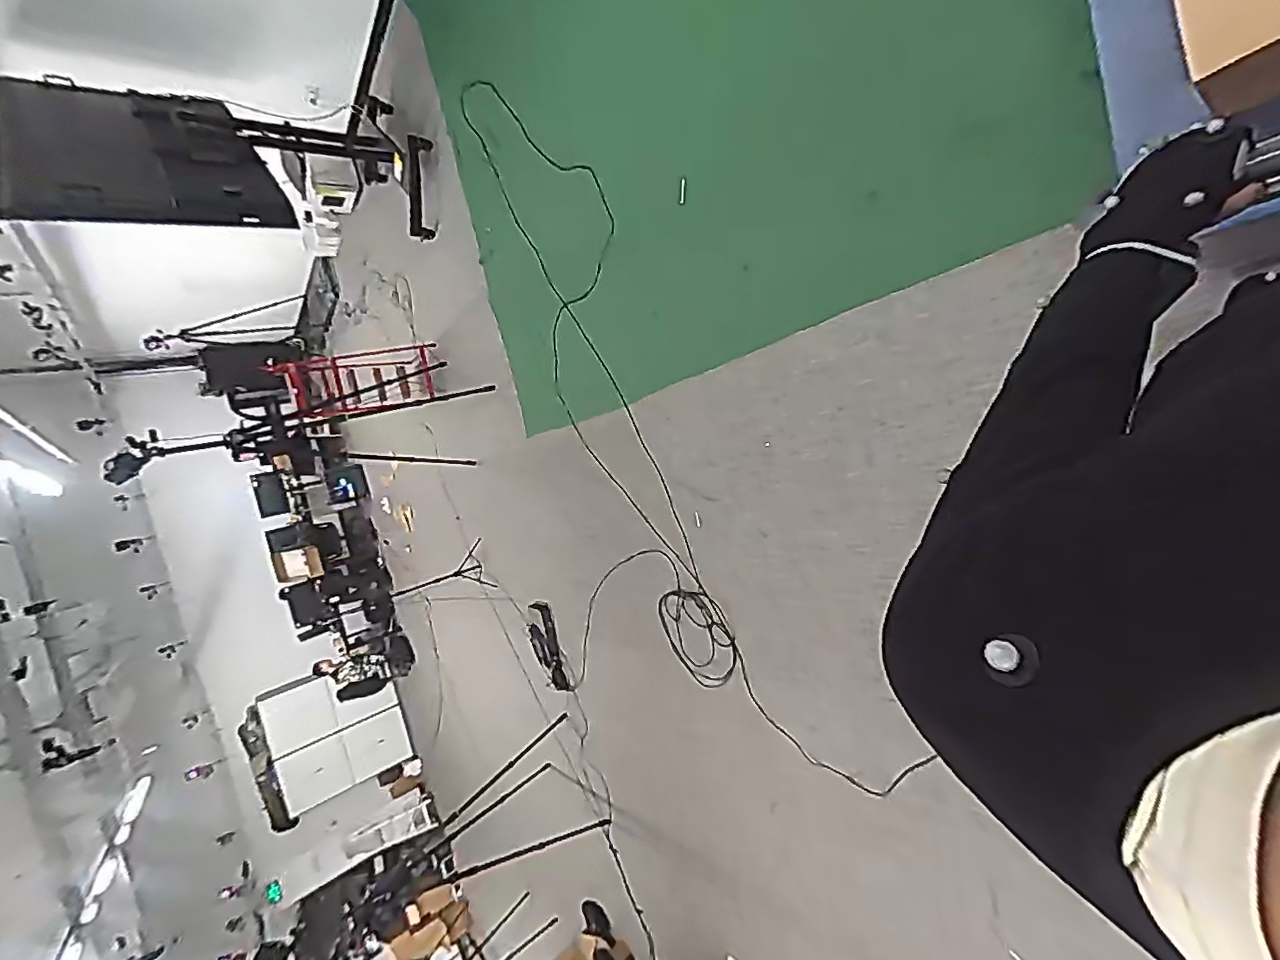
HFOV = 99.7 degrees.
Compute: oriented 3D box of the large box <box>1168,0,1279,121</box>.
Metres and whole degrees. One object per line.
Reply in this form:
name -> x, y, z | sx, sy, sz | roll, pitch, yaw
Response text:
large box -> 0.947, -0.805, 0.738 | 0.320, 0.320, 0.408 | -13, 92, 53
